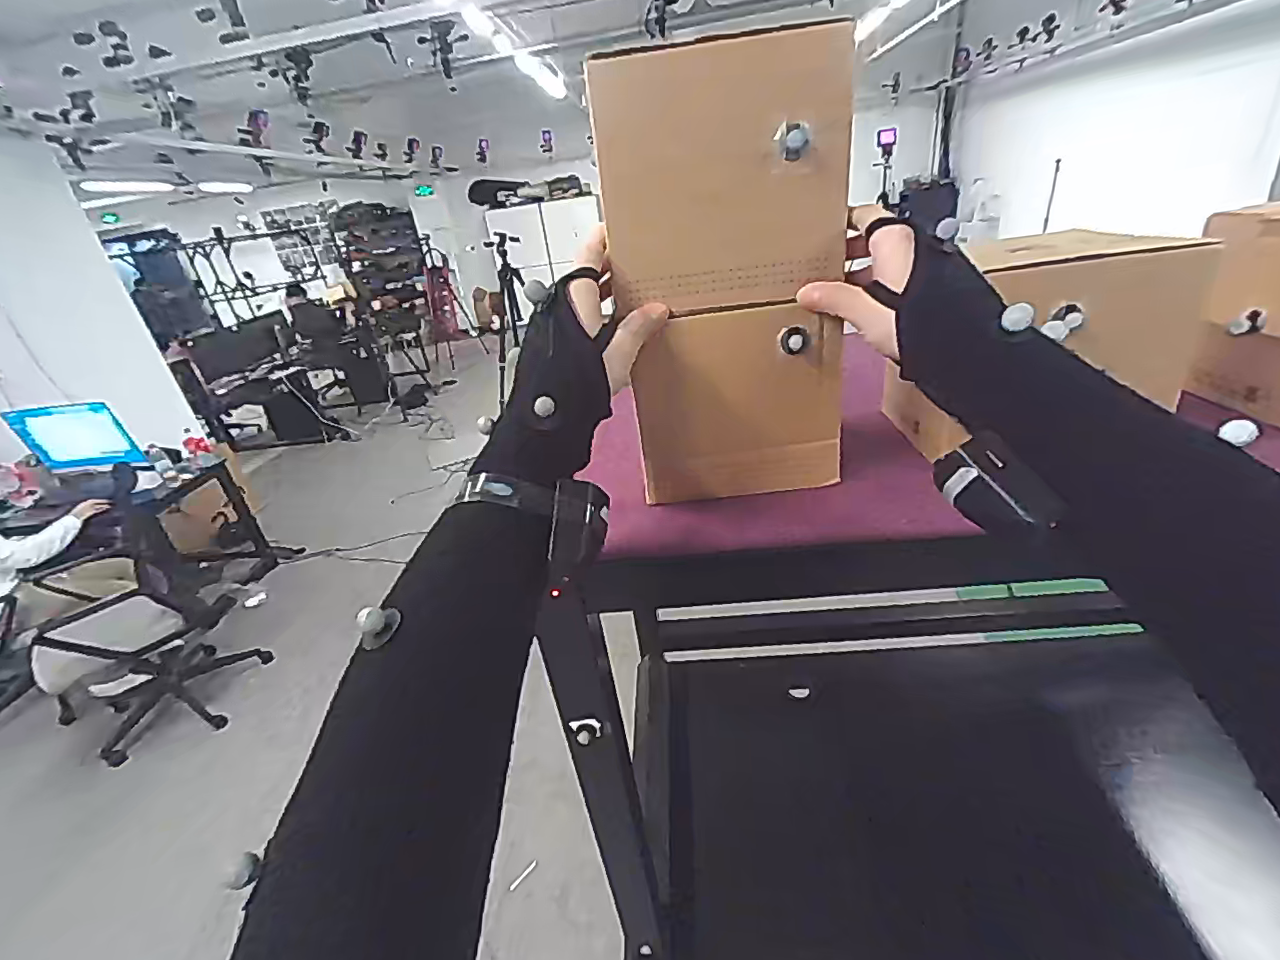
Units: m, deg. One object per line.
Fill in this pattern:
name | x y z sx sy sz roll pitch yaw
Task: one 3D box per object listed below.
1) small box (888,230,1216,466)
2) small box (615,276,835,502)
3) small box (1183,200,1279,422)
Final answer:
small box | 0.338 -0.120 0.491 0.179 0.176 0.168 -5 27 9
small box | 0.079 -0.089 0.523 0.179 0.176 0.168 -7 27 4
small box | 0.618 -0.149 0.453 0.179 0.176 0.168 -6 27 10
